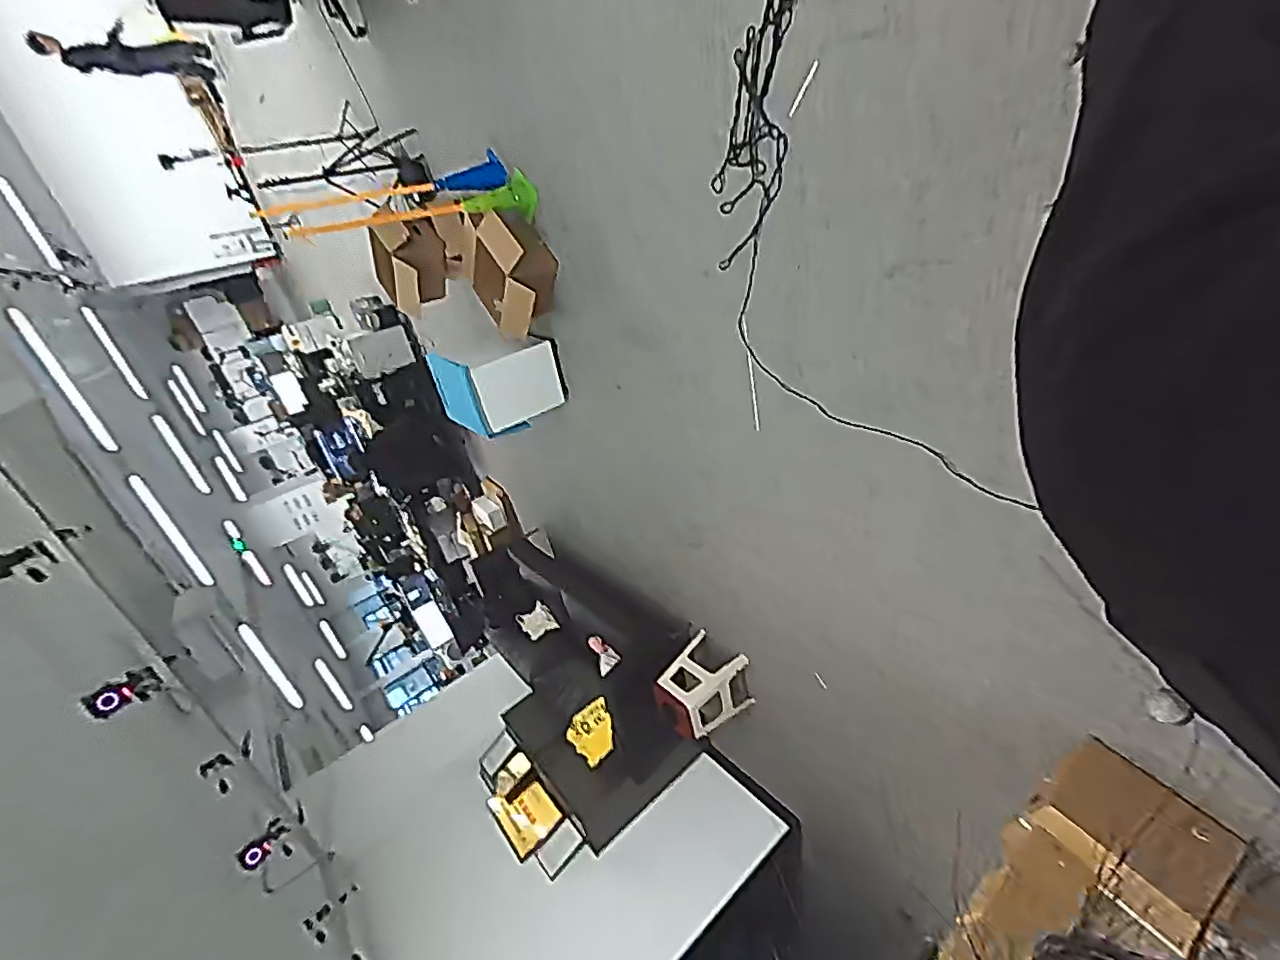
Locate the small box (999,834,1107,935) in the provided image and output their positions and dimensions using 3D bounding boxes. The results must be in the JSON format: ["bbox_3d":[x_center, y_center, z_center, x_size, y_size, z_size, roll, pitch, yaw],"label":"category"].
[{"bbox_3d":[1.169,1.154,1.535,0.168,0.176,0.179,39,146,35],"label":"small box"}]

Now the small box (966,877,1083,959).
[{"bbox_3d":[1.039,1.221,1.466,0.179,0.176,0.168,39,146,33],"label":"small box"}]
